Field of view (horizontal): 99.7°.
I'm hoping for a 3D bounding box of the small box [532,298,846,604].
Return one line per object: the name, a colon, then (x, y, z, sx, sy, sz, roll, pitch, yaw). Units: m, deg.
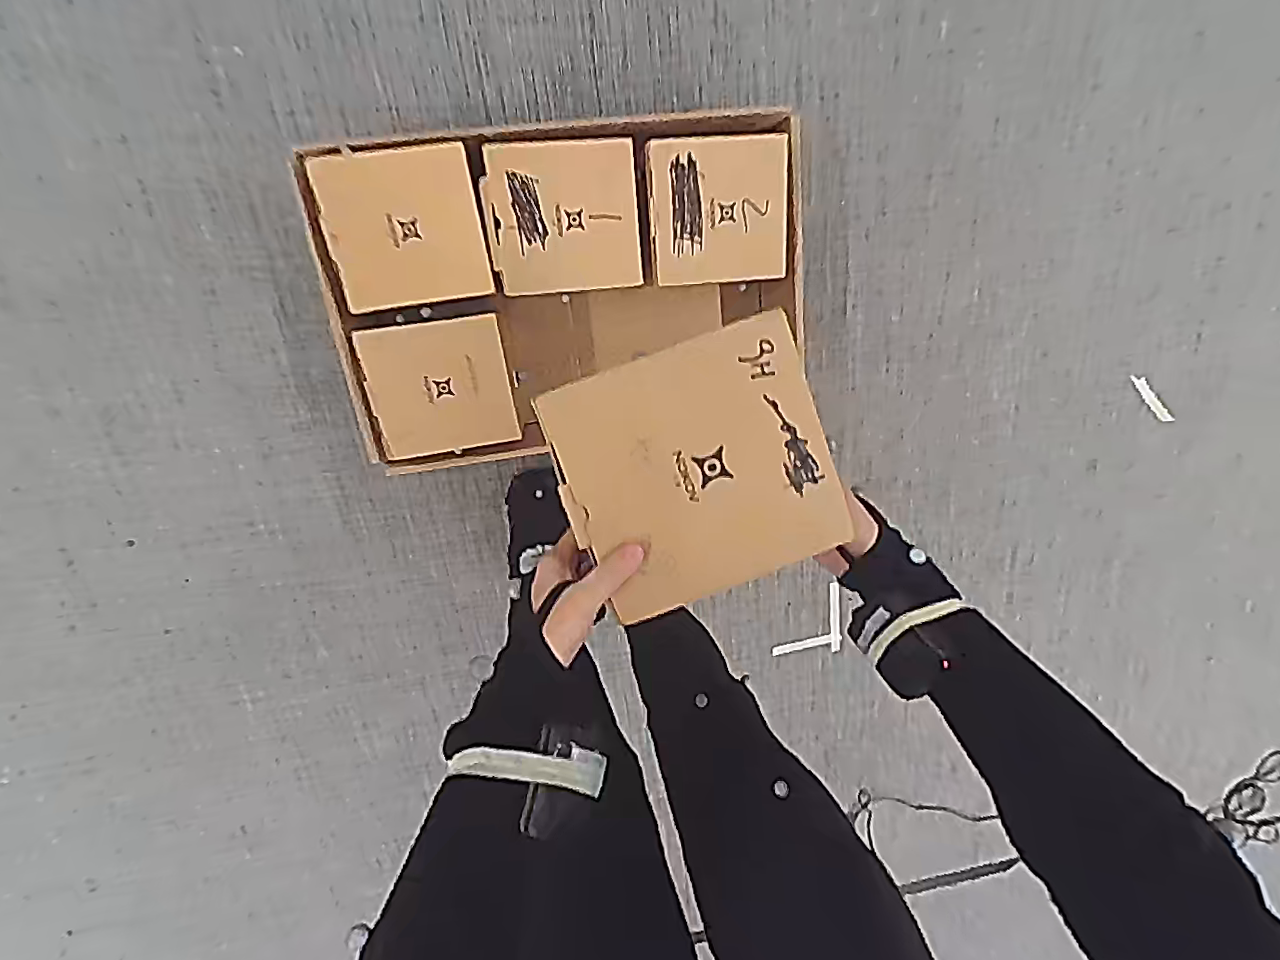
small box: (0.033, -0.024, 0.442, 0.179, 0.176, 0.168, -20, 96, -1)
